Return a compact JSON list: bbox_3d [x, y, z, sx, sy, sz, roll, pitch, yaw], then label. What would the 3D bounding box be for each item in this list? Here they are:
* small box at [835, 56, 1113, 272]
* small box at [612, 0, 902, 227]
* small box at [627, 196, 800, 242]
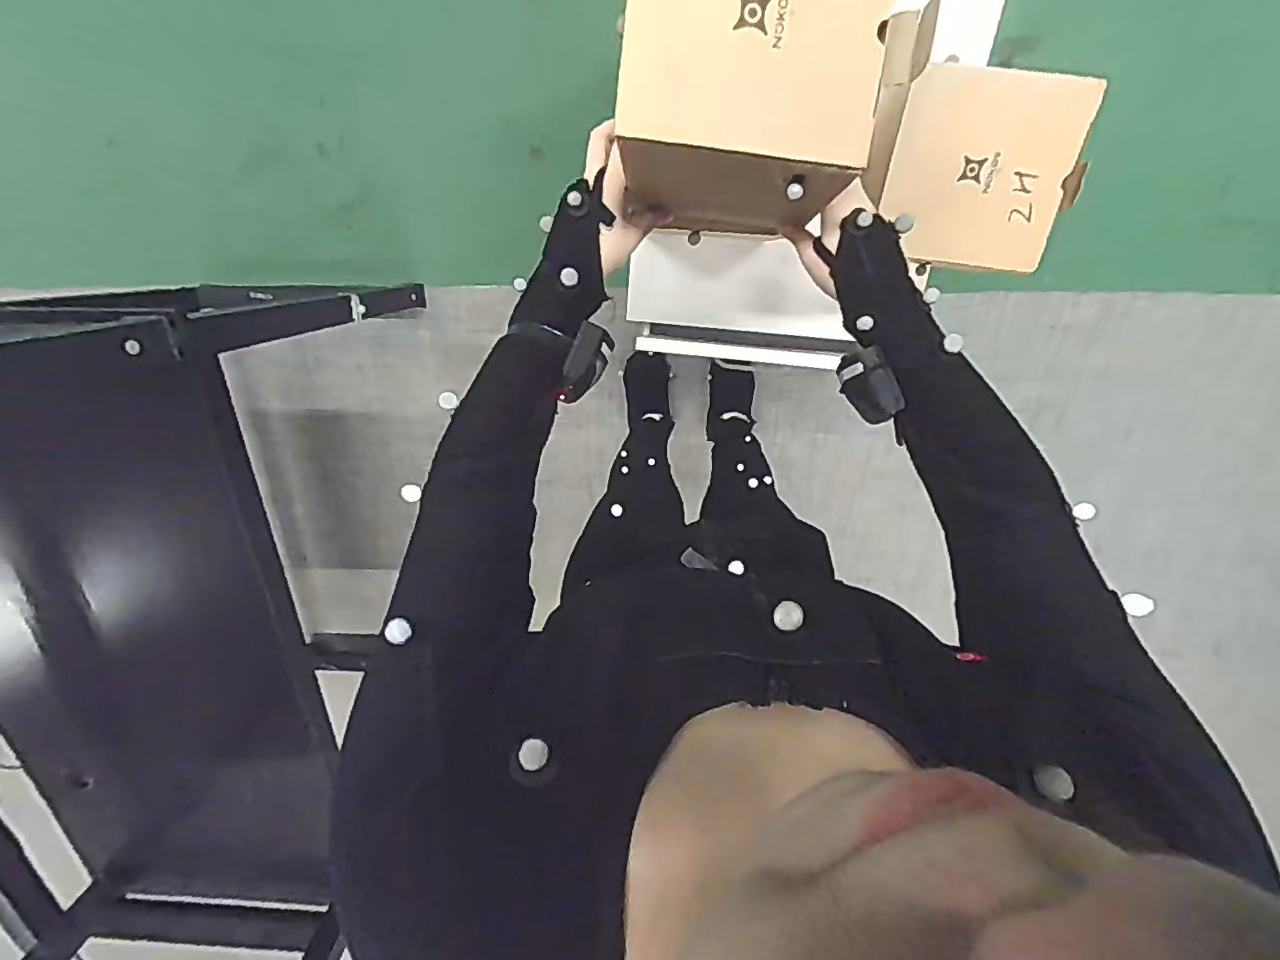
[{"bbox_3d":[0.331,-0.324,0.585,0.179,0.176,0.168,8,114,1],"label":"small box"},{"bbox_3d":[0.079,-0.310,0.420,0.179,0.176,0.168,7,102,0],"label":"small box"},{"bbox_3d":[0.083,-0.356,0.591,0.179,0.176,0.168,4,113,1],"label":"small box"}]
